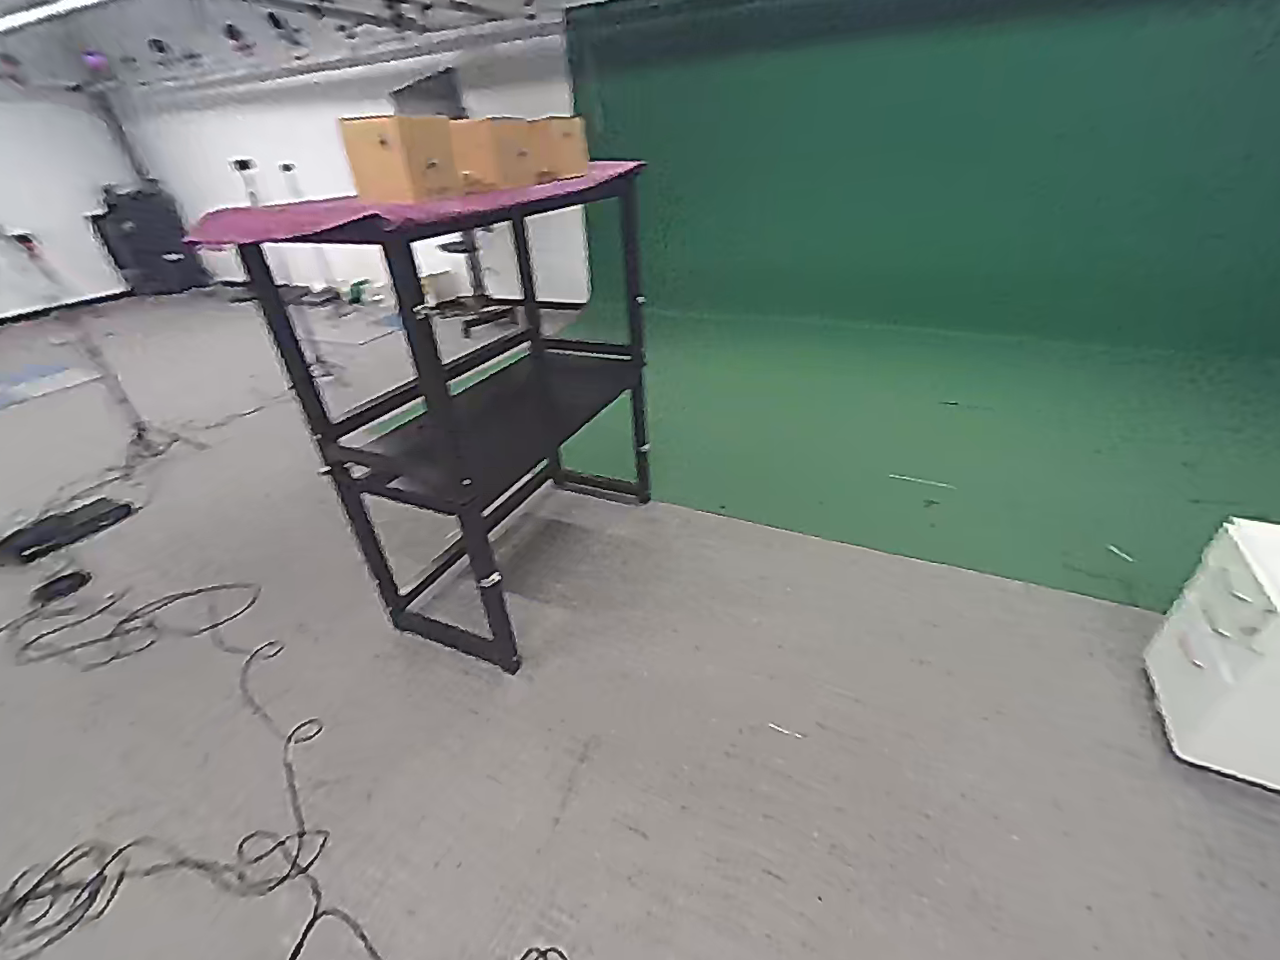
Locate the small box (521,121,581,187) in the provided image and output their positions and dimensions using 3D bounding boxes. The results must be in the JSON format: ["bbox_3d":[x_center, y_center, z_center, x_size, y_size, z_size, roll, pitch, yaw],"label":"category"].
[{"bbox_3d":[-0.308,-1.064,1.769,0.168,0.176,0.179,10,35,25],"label":"small box"}]

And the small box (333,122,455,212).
[{"bbox_3d":[-0.557,-0.723,1.249,0.179,0.176,0.168,11,34,22],"label":"small box"}]

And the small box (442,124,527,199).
[{"bbox_3d":[-0.431,-0.882,1.498,0.168,0.176,0.179,10,35,22],"label":"small box"}]
